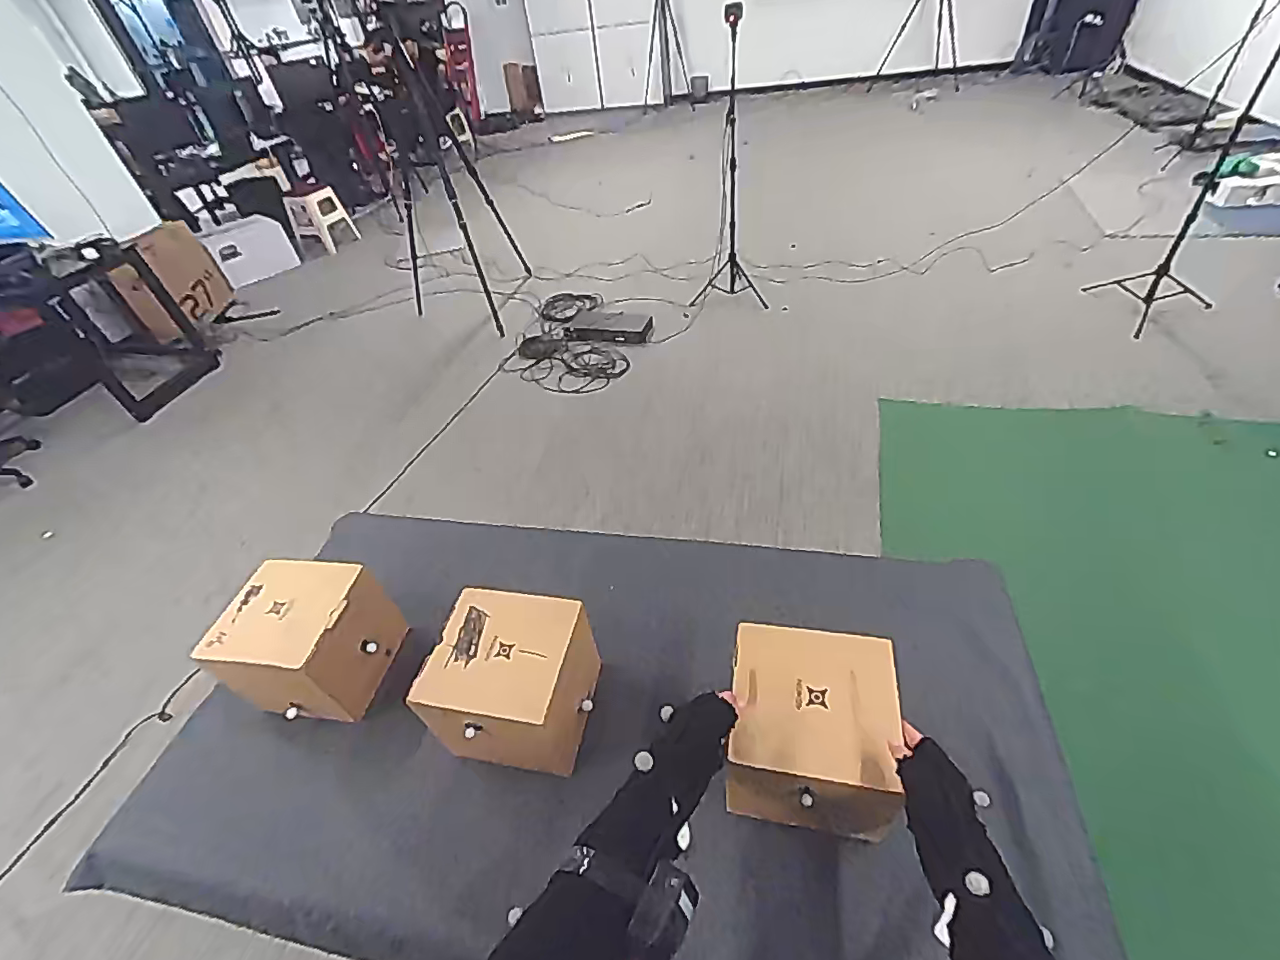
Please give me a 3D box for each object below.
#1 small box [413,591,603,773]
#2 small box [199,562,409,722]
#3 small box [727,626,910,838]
[{"bbox_3d":[-0.162,0.273,0.732,0.179,0.176,0.168,4,44,13],"label":"small box"},{"bbox_3d":[-0.484,0.245,0.815,0.179,0.176,0.168,2,44,10],"label":"small box"},{"bbox_3d":[0.199,0.297,0.639,0.179,0.176,0.168,3,44,13],"label":"small box"}]
